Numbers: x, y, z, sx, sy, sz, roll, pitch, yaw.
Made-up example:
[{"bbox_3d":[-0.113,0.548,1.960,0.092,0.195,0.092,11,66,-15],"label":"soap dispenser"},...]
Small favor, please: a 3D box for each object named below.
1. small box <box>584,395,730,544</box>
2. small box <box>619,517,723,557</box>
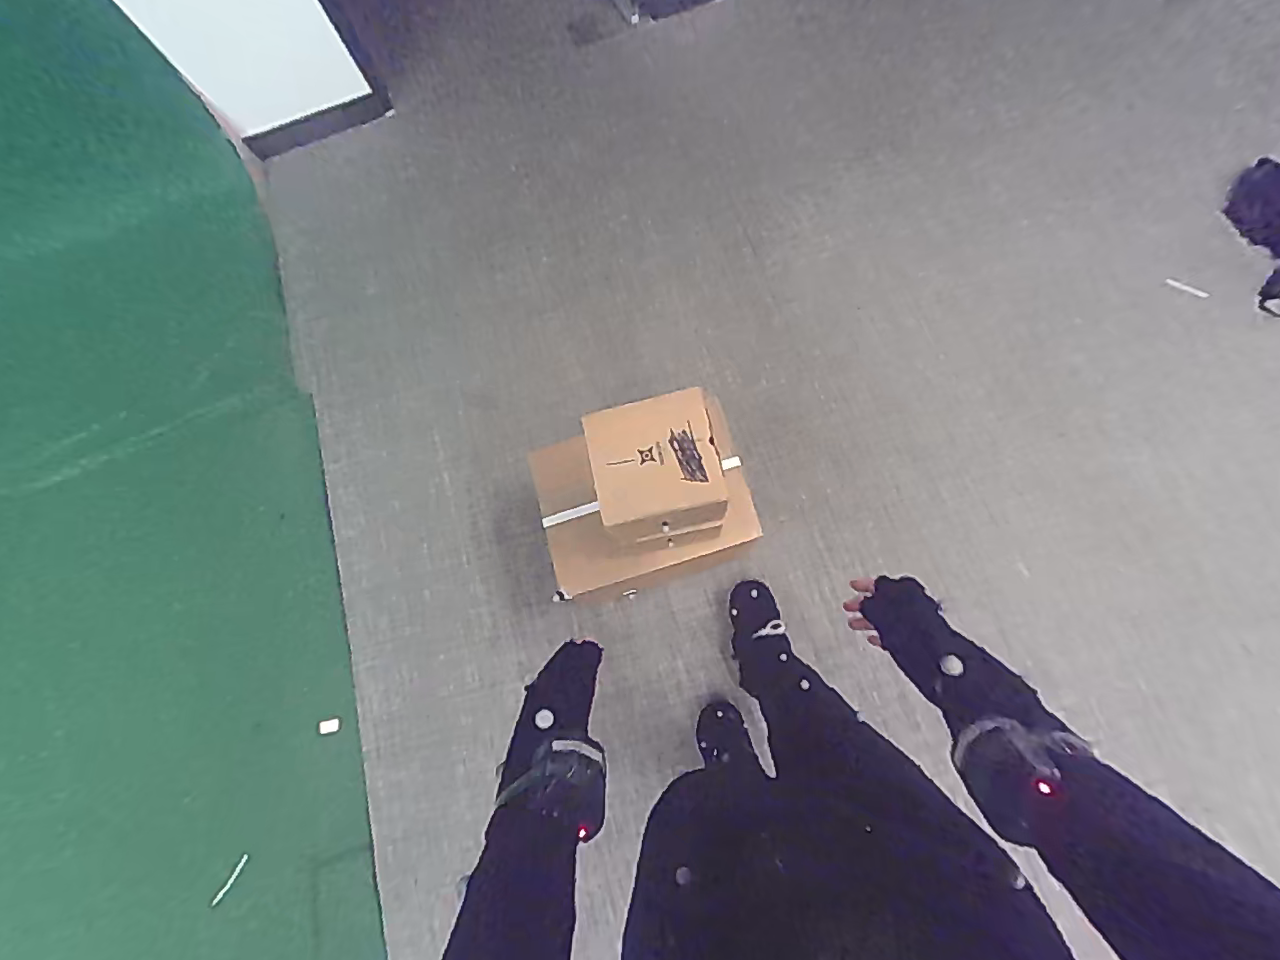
[{"bbox_3d":[0.028,-0.006,0.816,0.179,0.176,0.168,-13,76,4],"label":"small box"},{"bbox_3d":[0.045,0.037,0.973,0.179,0.176,0.168,-12,76,2],"label":"small box"}]
